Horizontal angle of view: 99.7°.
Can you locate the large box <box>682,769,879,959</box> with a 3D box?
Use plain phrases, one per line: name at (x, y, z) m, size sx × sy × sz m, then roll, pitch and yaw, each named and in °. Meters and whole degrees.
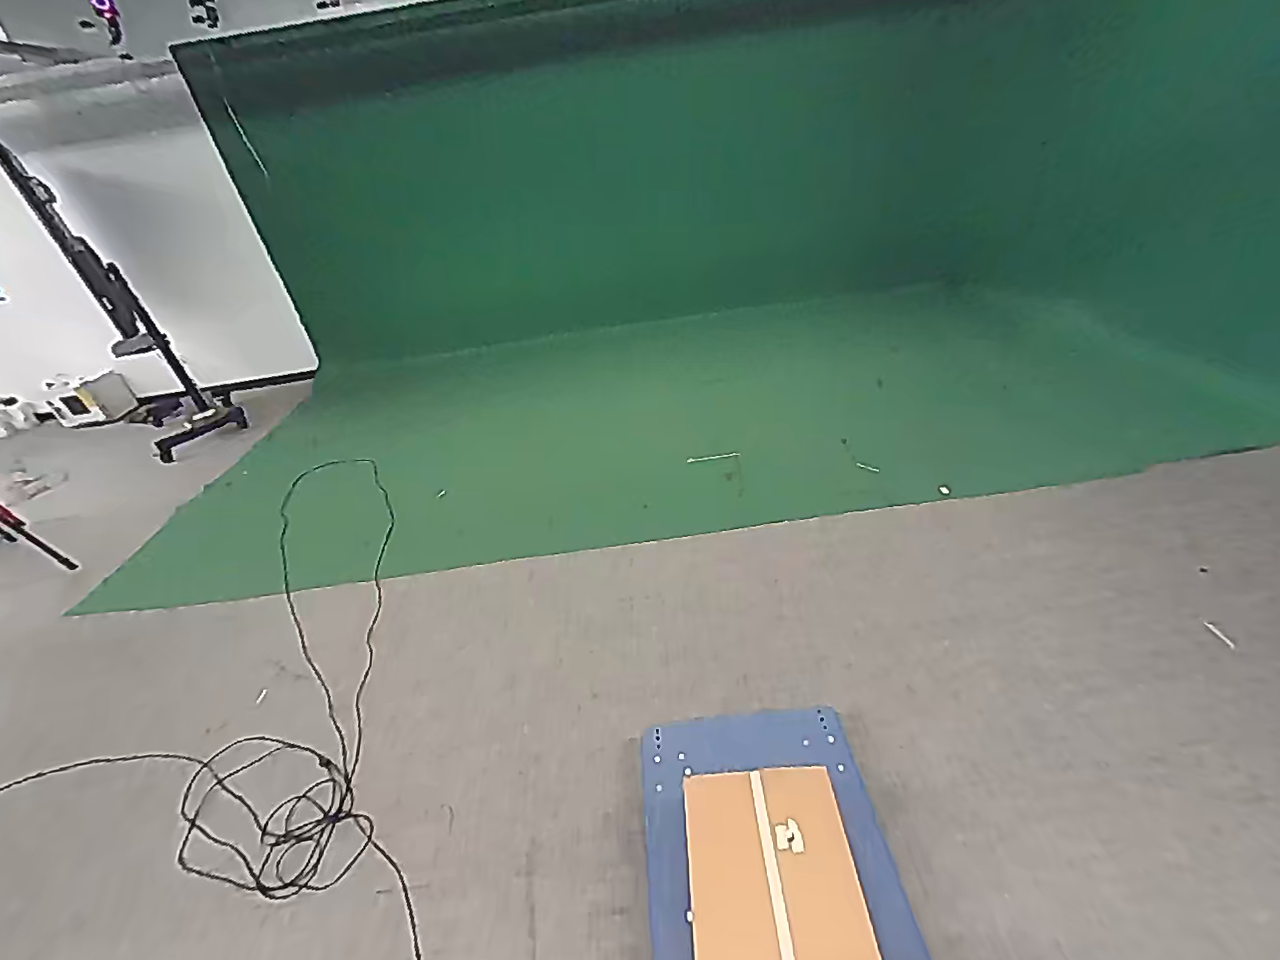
large box at (0.267, 0.876, 1.097) m, size 0.320 × 0.320 × 0.408 m, roll -6°, pitch 33°, yaw 4°
